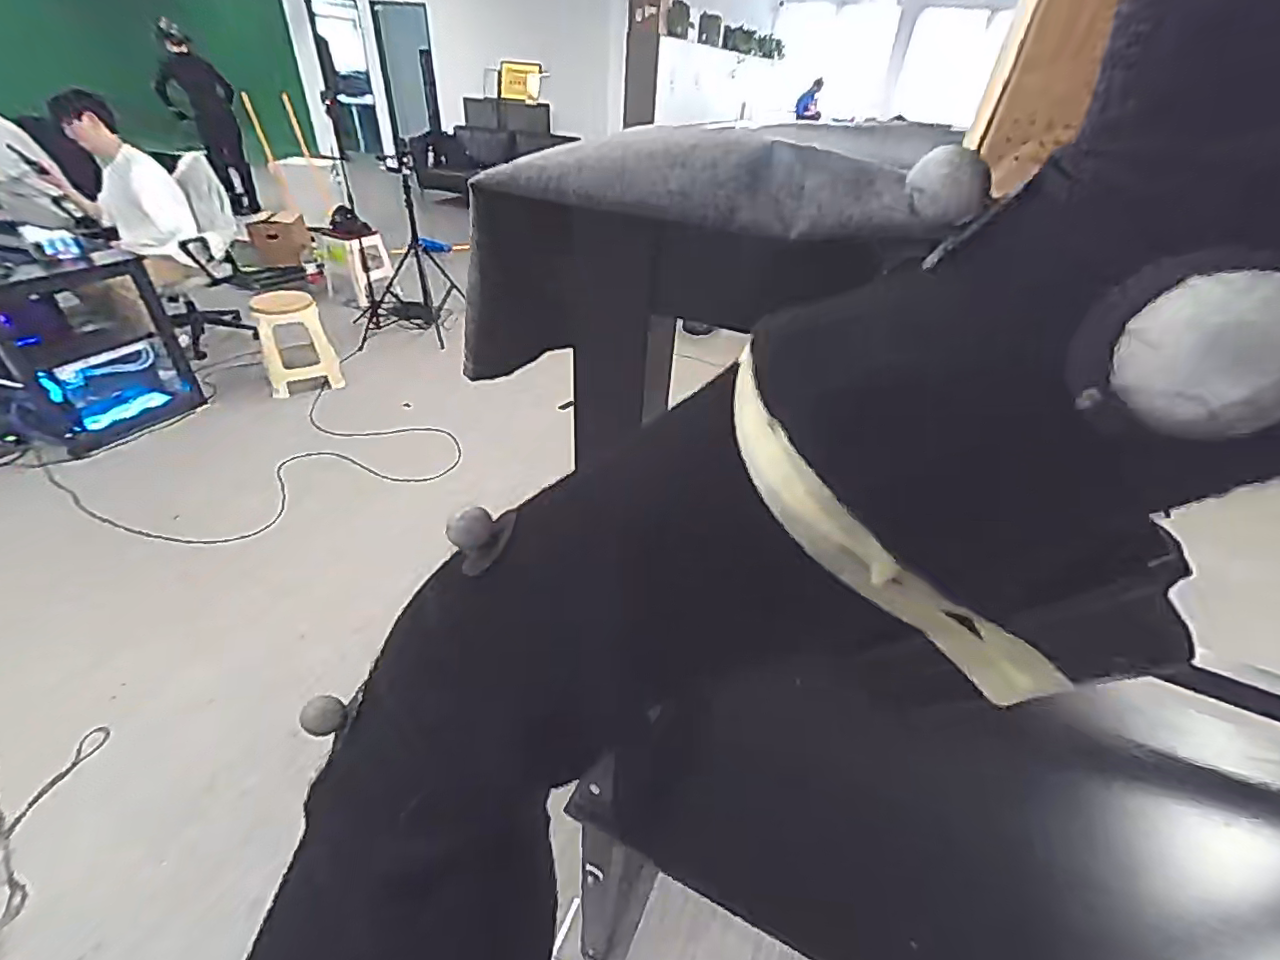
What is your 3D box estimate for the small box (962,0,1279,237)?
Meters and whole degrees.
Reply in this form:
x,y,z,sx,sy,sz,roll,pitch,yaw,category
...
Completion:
x,y,z,sx,sy,sz,roll,pitch,yaw,category
0.261,-0.214,0.232,0.168,0.176,0.179,20,38,17,small box
